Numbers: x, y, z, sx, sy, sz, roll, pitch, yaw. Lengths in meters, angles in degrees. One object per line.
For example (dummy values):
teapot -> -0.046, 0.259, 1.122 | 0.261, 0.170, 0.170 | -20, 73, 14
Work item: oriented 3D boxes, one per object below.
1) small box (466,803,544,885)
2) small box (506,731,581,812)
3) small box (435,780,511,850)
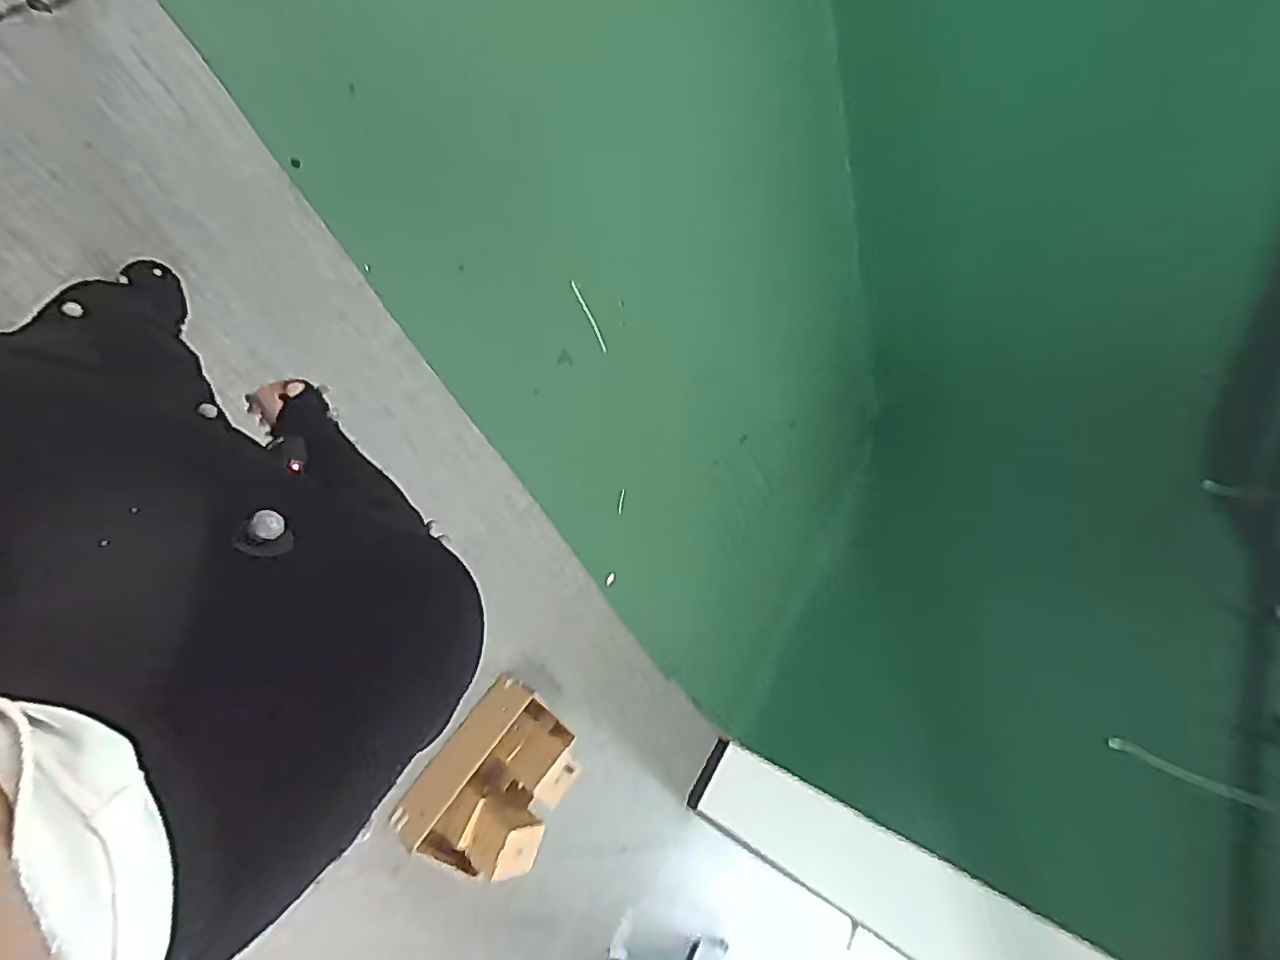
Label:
small box -> -0.477, 1.269, 1.899 | 0.179, 0.176, 0.168 | 29, 78, -49
small box -> -0.355, 1.062, 1.983 | 0.179, 0.176, 0.168 | -47, 132, -29
small box -> -0.614, 1.226, 1.982 | 0.179, 0.176, 0.168 | 44, 67, -46
